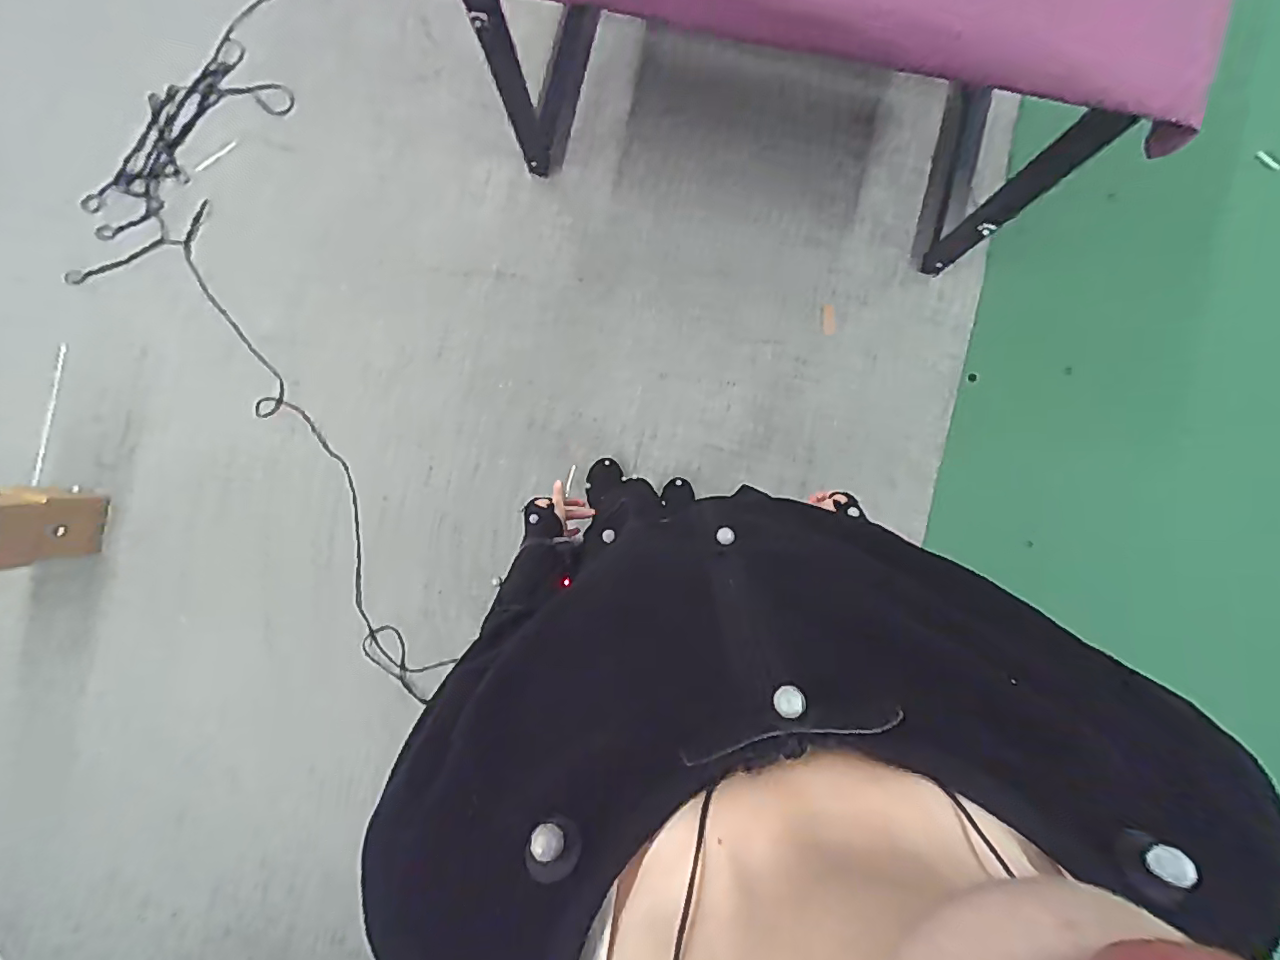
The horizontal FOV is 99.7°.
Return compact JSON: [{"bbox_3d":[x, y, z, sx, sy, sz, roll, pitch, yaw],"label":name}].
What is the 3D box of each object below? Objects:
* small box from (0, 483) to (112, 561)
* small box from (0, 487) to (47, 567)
[{"bbox_3d":[-1.616,0.110,1.483,0.168,0.176,0.179,12,89,2],"label":"small box"},{"bbox_3d":[-1.623,0.117,1.319,0.168,0.176,0.179,12,89,1],"label":"small box"}]
